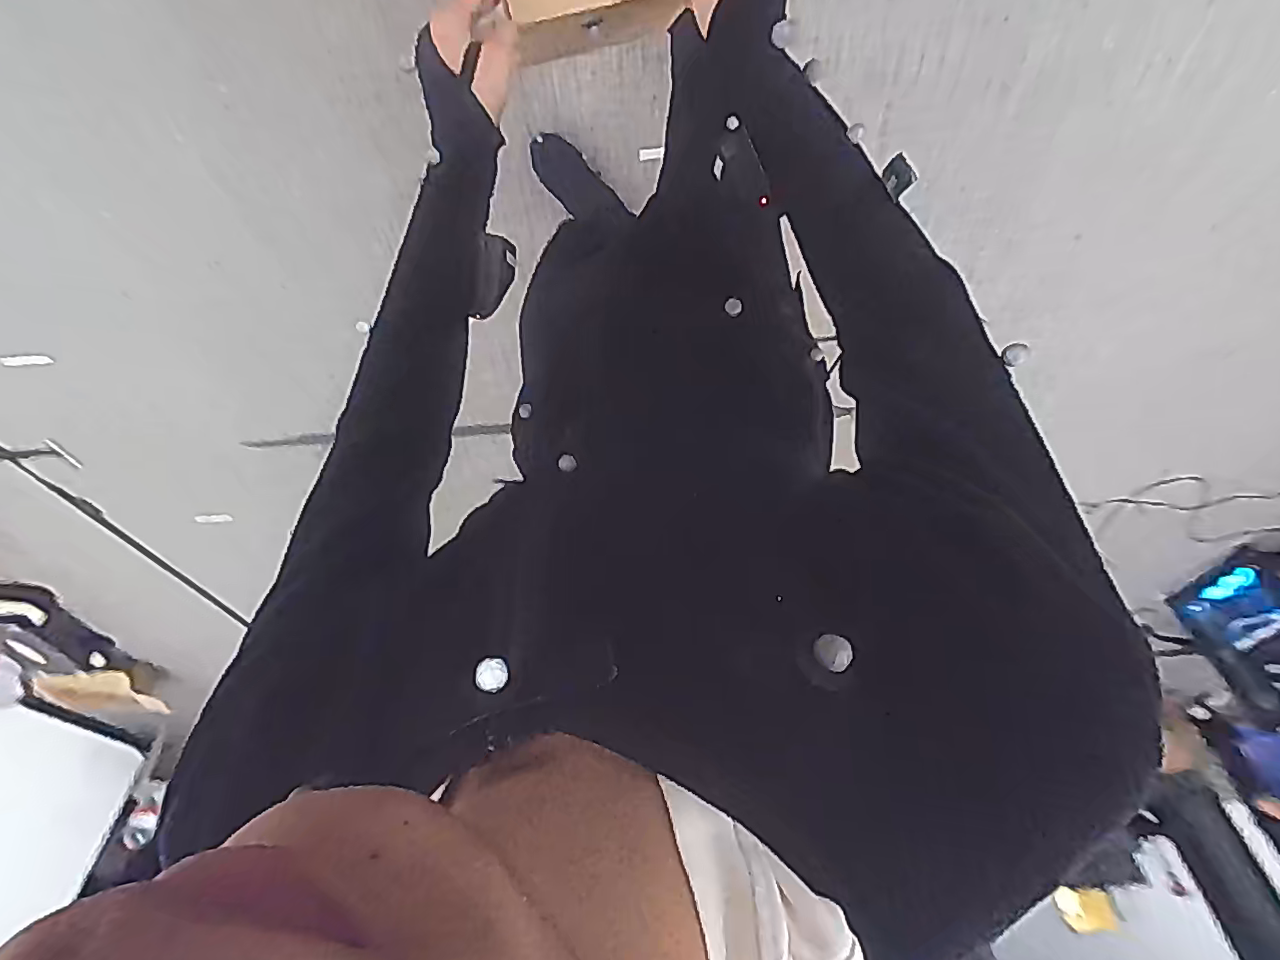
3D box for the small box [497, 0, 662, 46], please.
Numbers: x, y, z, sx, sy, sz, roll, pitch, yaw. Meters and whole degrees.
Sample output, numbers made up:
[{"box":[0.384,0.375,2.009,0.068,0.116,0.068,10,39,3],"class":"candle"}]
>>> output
[{"box":[-0.059,-0.515,0.474,0.179,0.176,0.168,-17,119,-4],"class":"small box"}]
